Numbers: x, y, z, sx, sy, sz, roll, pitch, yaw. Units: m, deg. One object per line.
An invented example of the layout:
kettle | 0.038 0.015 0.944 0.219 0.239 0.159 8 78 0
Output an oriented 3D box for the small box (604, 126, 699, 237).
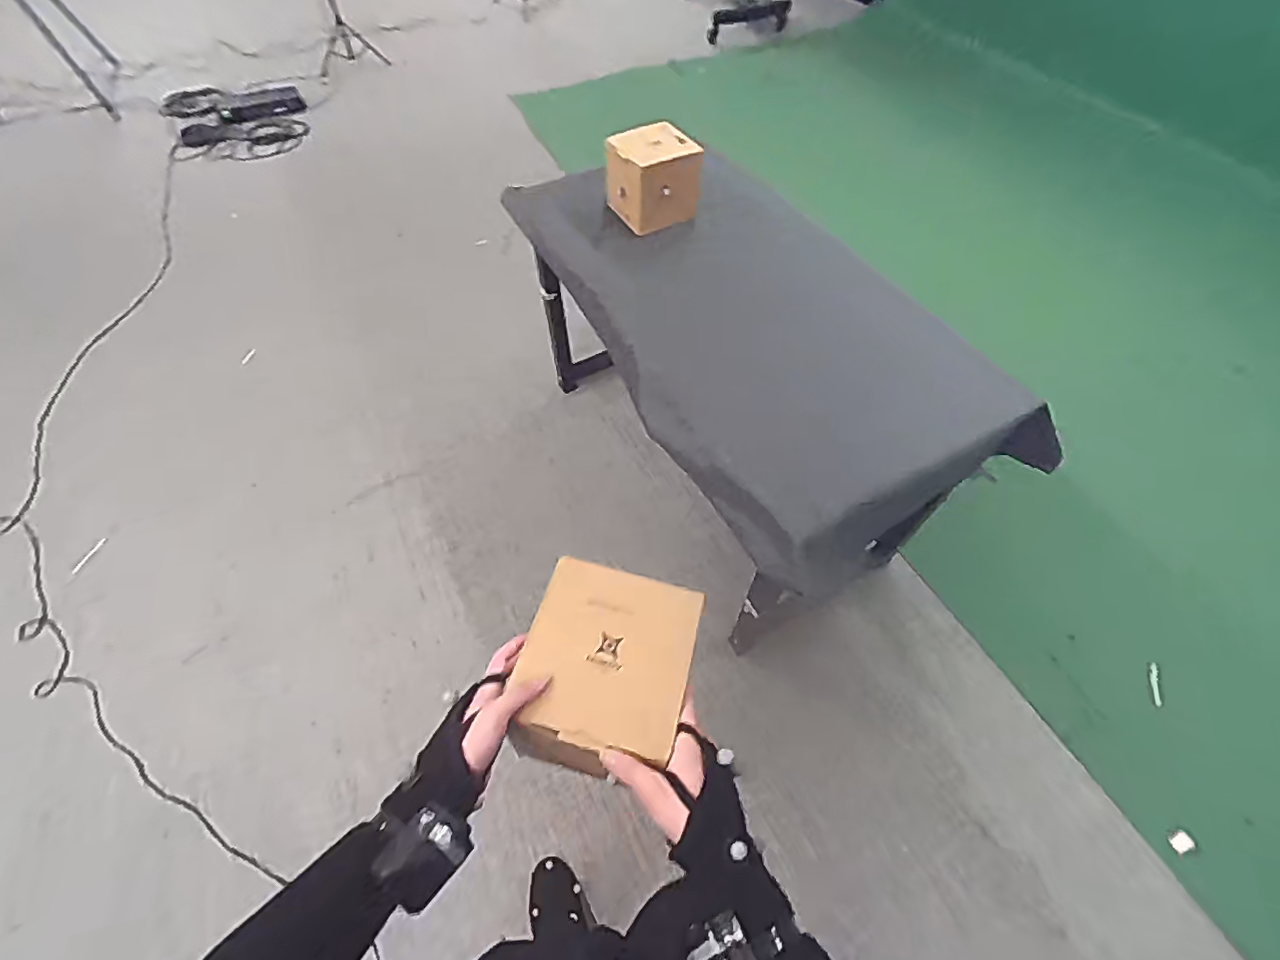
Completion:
small box | 0.029 -0.737 1.343 0.179 0.176 0.168 -27 61 -16
